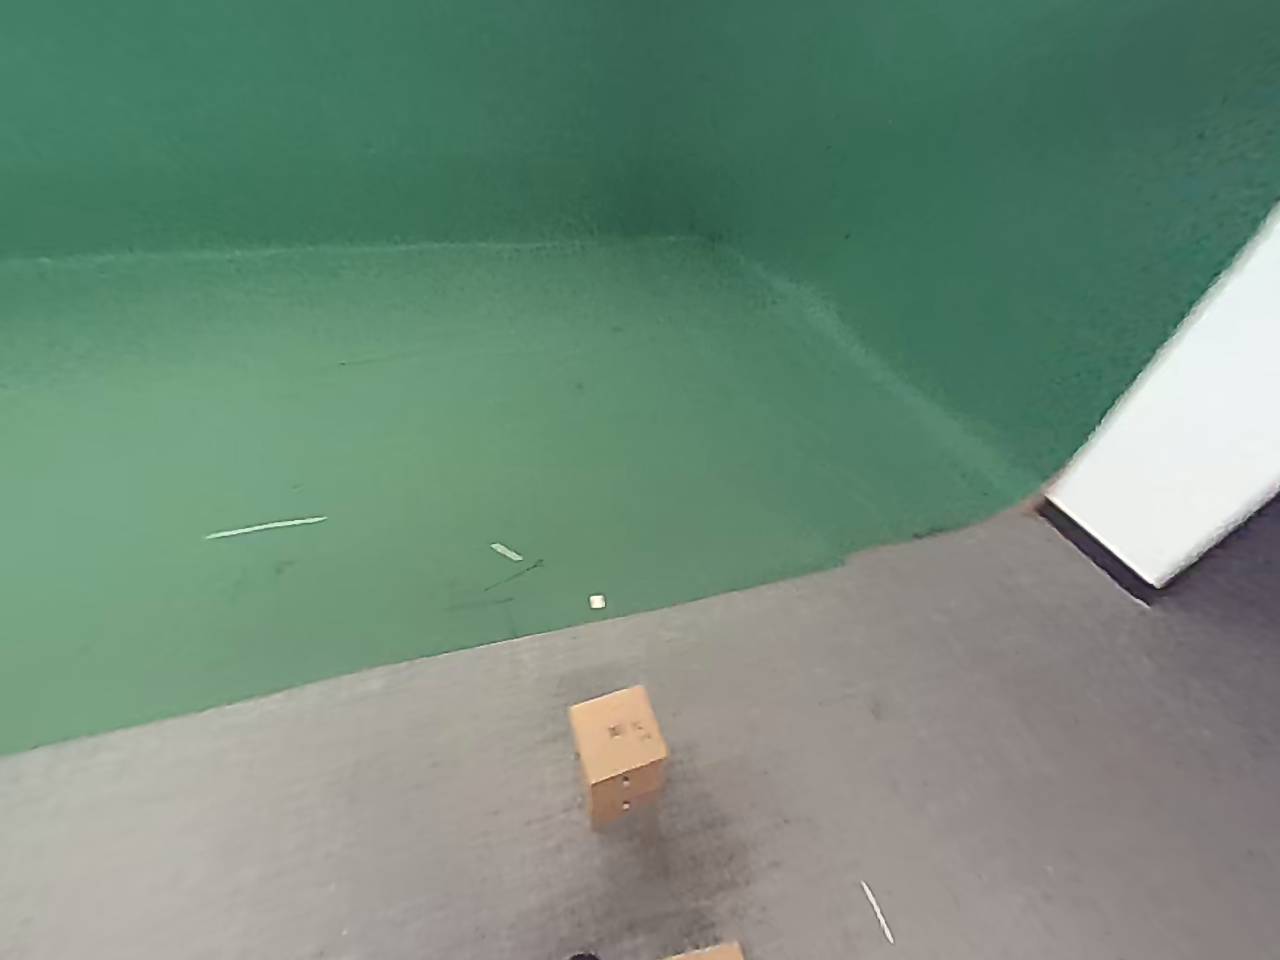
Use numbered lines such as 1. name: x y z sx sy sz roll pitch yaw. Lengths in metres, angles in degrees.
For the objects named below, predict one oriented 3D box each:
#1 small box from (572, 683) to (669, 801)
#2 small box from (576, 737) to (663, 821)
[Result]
1. small box: -0.048 0.591 1.216 0.179 0.176 0.168 -11 47 -16
2. small box: -0.053 0.710 1.330 0.179 0.176 0.168 -10 46 -15
